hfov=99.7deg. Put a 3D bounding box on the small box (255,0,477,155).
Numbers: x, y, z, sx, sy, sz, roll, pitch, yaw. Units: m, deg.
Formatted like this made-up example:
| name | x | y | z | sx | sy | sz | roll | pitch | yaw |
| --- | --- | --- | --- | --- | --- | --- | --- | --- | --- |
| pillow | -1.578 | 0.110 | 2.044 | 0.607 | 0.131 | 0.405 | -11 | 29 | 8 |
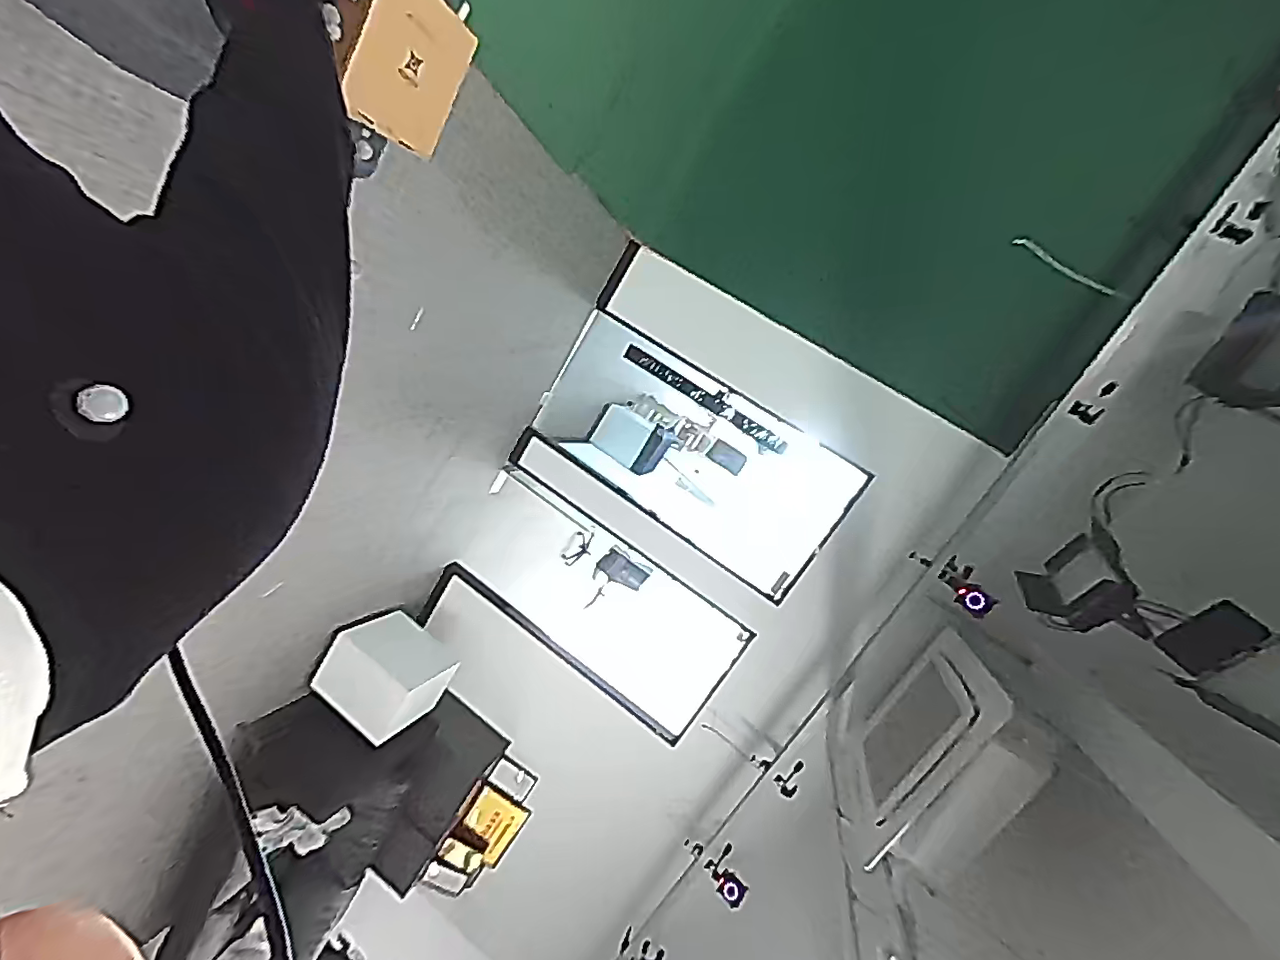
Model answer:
| name | x | y | z | sx | sy | sz | roll | pitch | yaw |
| --- | --- | --- | --- | --- | --- | --- | --- | --- | --- |
| small box | -0.359 | -0.584 | 0.712 | 0.179 | 0.176 | 0.168 | -59 | 169 | 14 |
